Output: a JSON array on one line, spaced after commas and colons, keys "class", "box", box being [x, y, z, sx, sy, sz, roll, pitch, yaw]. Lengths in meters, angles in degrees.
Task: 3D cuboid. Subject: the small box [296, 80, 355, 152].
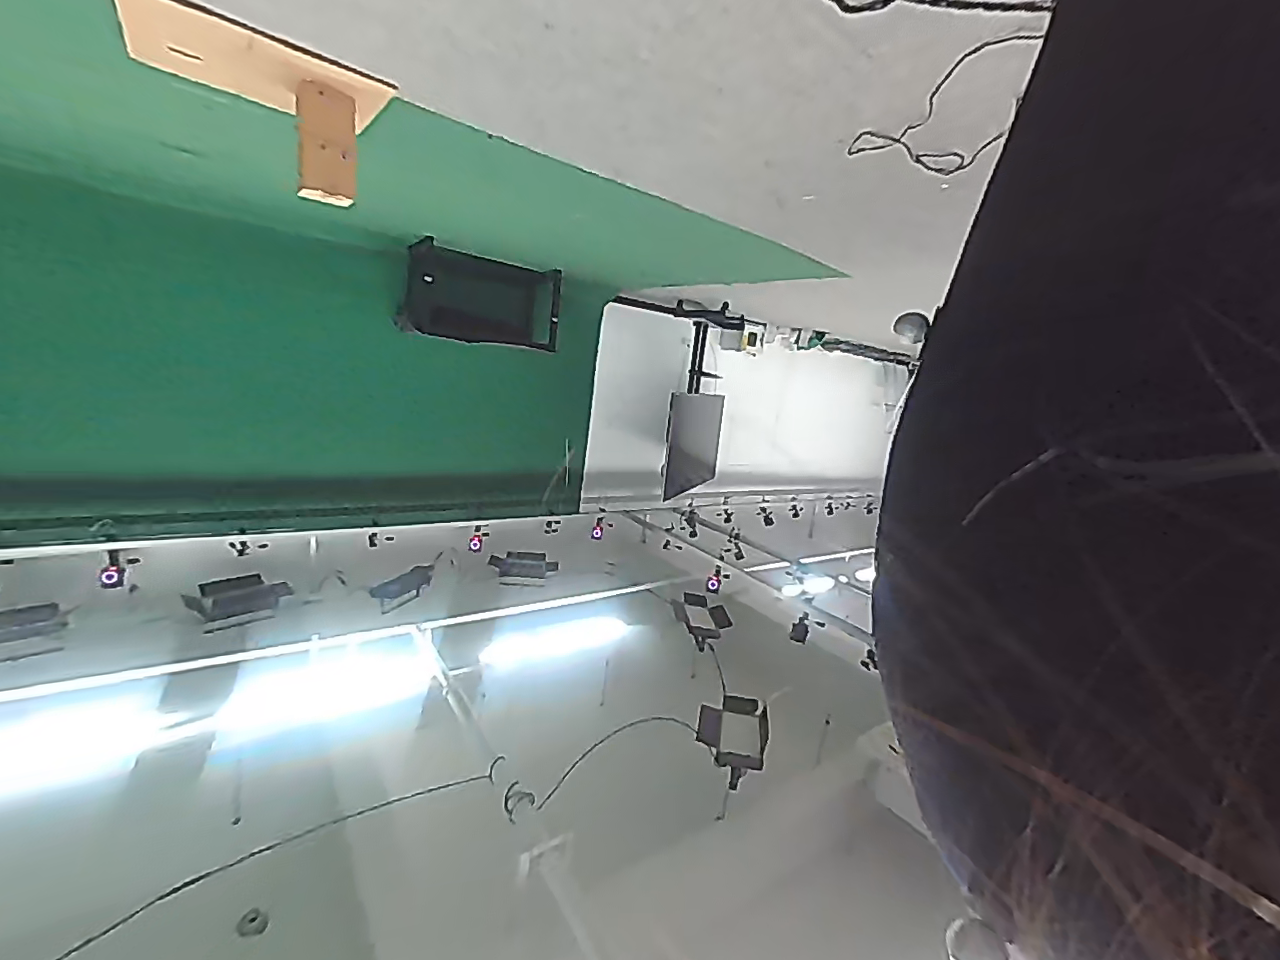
[{"class": "small box", "box": [-1.123, -1.282, 1.930, 0.168, 0.176, 0.179, -3, -165, -37]}]

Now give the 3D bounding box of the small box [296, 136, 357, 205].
[{"class": "small box", "box": [-1.143, -1.123, 1.966, 0.168, 0.176, 0.179, -3, -164, -39]}]
